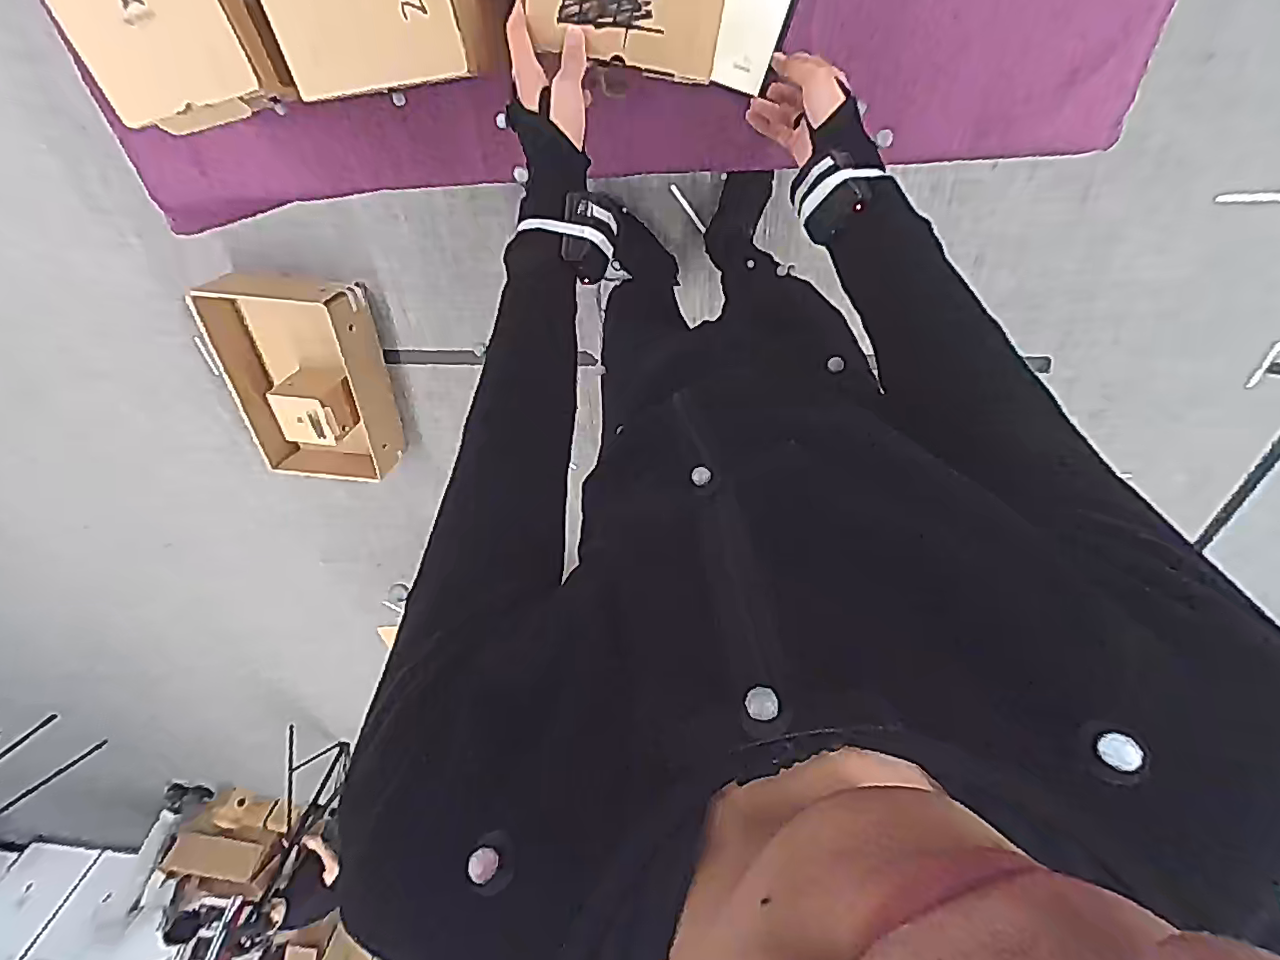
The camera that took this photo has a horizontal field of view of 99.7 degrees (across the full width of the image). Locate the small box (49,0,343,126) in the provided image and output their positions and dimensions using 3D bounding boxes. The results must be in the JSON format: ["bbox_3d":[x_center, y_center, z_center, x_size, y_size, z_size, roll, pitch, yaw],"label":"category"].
[{"bbox_3d":[-0.444,-0.483,0.543,0.168,0.176,0.179,-5,127,11],"label":"small box"}]

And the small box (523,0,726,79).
[{"bbox_3d":[0.001,-0.479,0.474,0.168,0.176,0.179,11,130,0],"label":"small box"}]
